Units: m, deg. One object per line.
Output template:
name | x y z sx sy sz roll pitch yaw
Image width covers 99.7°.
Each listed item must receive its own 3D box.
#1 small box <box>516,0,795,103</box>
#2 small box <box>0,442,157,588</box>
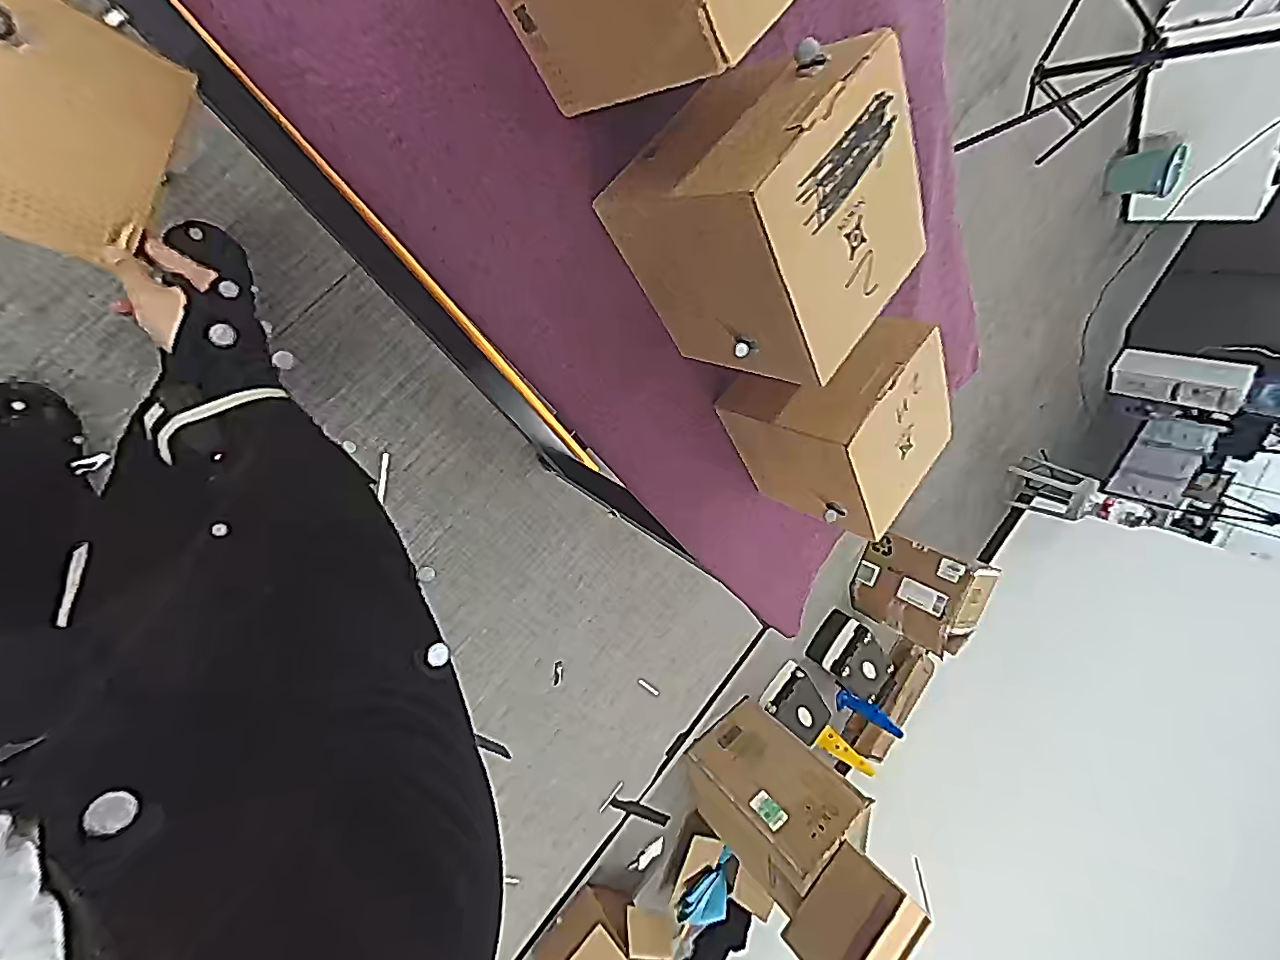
small box | 0.011 -0.356 0.309 0.179 0.176 0.168 -52 135 -11
small box | -0.825 0.044 0.779 0.179 0.176 0.168 2 104 -46
